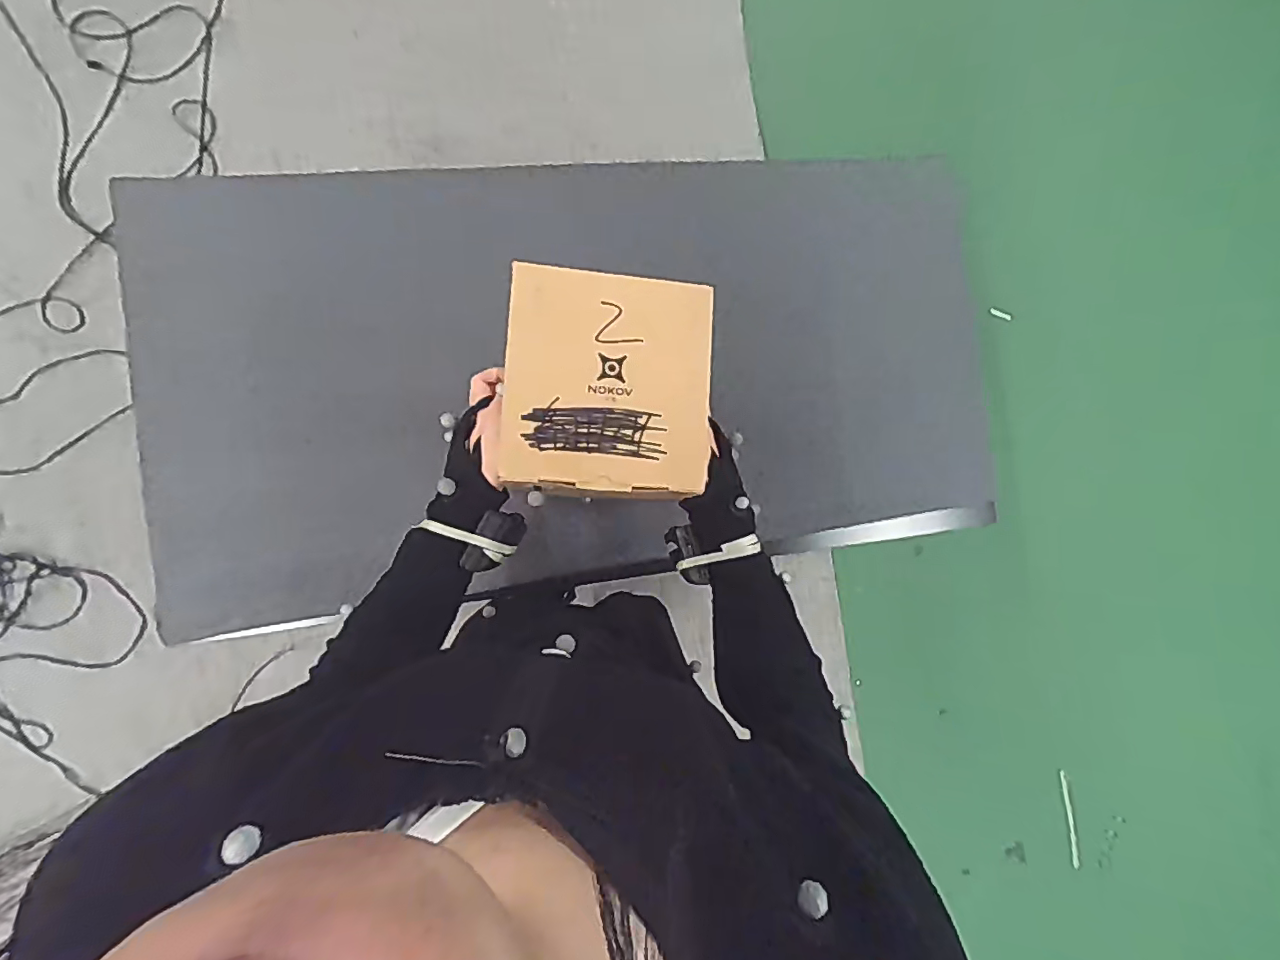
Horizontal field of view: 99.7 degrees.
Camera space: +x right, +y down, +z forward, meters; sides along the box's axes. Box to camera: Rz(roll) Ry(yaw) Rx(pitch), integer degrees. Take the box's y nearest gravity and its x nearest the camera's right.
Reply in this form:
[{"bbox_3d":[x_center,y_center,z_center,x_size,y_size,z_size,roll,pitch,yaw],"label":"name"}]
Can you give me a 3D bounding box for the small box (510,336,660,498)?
[{"bbox_3d":[-0.073,-0.070,0.679,0.168,0.176,0.179,-2,88,-8],"label":"small box"}]
